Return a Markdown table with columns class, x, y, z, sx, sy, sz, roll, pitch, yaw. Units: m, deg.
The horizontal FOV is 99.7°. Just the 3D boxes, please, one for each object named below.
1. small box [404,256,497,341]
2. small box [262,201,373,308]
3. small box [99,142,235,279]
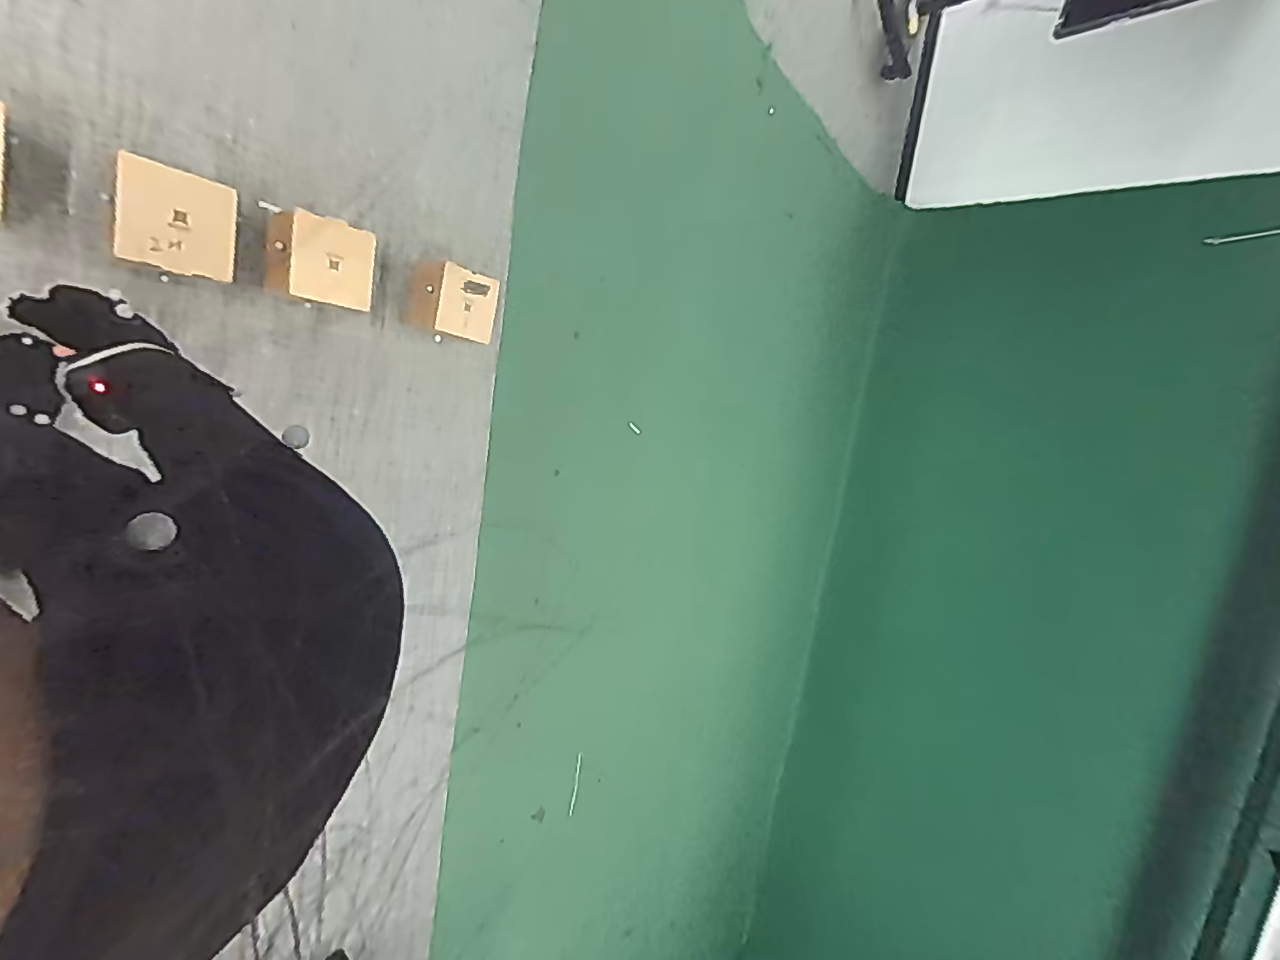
| class | x | y | z | sx | sy | sz | roll | pitch | yaw |
| --- | --- | --- | --- | --- | --- | --- | --- | --- | --- |
| small box | -0.513 | -0.484 | 1.456 | 0.168 | 0.176 | 0.179 | 5 | 99 | -51 |
| small box | -0.721 | -0.491 | 1.204 | 0.168 | 0.176 | 0.179 | -1 | 102 | -50 |
| small box | -0.882 | -0.486 | 1.006 | 0.168 | 0.176 | 0.179 | 1 | 101 | -50 |
